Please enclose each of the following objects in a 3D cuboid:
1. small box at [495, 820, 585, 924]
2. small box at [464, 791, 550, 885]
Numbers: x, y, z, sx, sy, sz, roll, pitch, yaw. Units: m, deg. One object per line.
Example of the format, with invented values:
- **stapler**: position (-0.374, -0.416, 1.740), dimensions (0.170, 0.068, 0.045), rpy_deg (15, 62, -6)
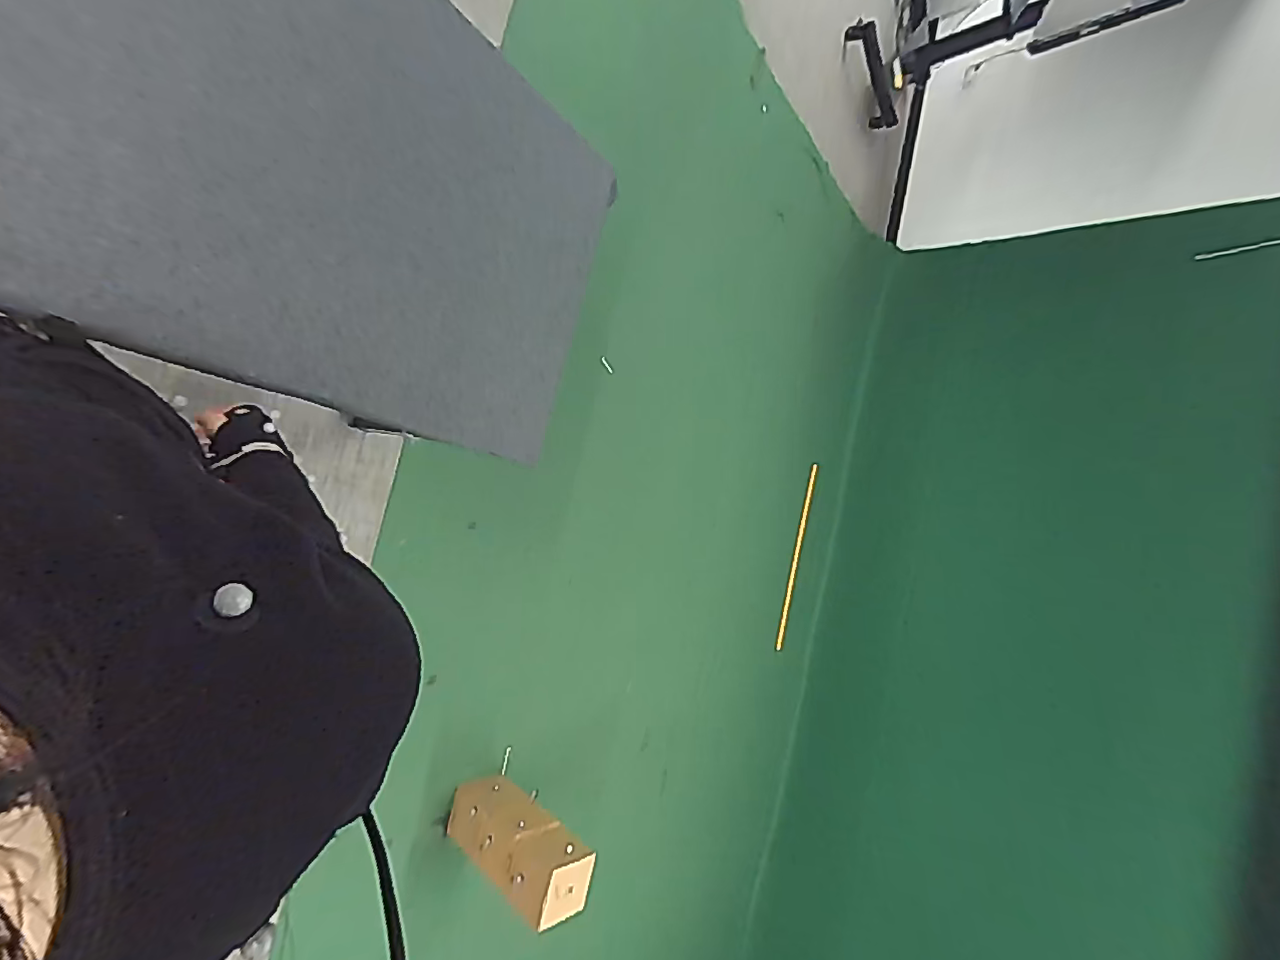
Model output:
- **small box**: position (-0.297, 1.149, 1.603), dimensions (0.179, 0.176, 0.168), rpy_deg (20, 83, -48)
- **small box**: position (-0.421, 1.119, 1.709), dimensions (0.179, 0.176, 0.168), rpy_deg (18, 85, -48)
